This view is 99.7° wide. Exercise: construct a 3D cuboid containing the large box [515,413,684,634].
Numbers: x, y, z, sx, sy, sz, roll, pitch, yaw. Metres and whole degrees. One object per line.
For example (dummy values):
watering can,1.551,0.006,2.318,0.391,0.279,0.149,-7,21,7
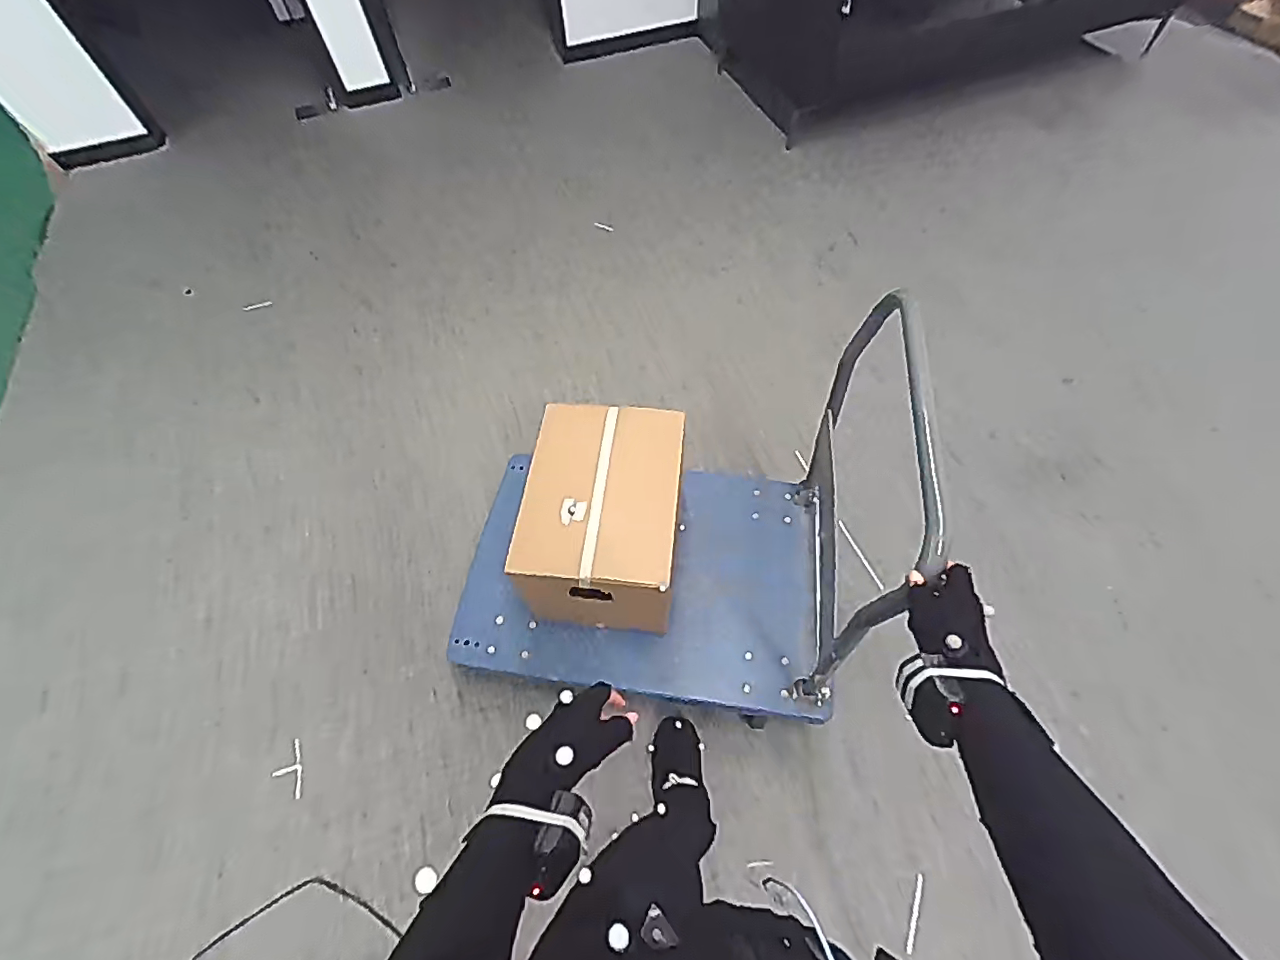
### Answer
large box,-0.066,0.102,1.231,0.320,0.320,0.408,3,60,5
